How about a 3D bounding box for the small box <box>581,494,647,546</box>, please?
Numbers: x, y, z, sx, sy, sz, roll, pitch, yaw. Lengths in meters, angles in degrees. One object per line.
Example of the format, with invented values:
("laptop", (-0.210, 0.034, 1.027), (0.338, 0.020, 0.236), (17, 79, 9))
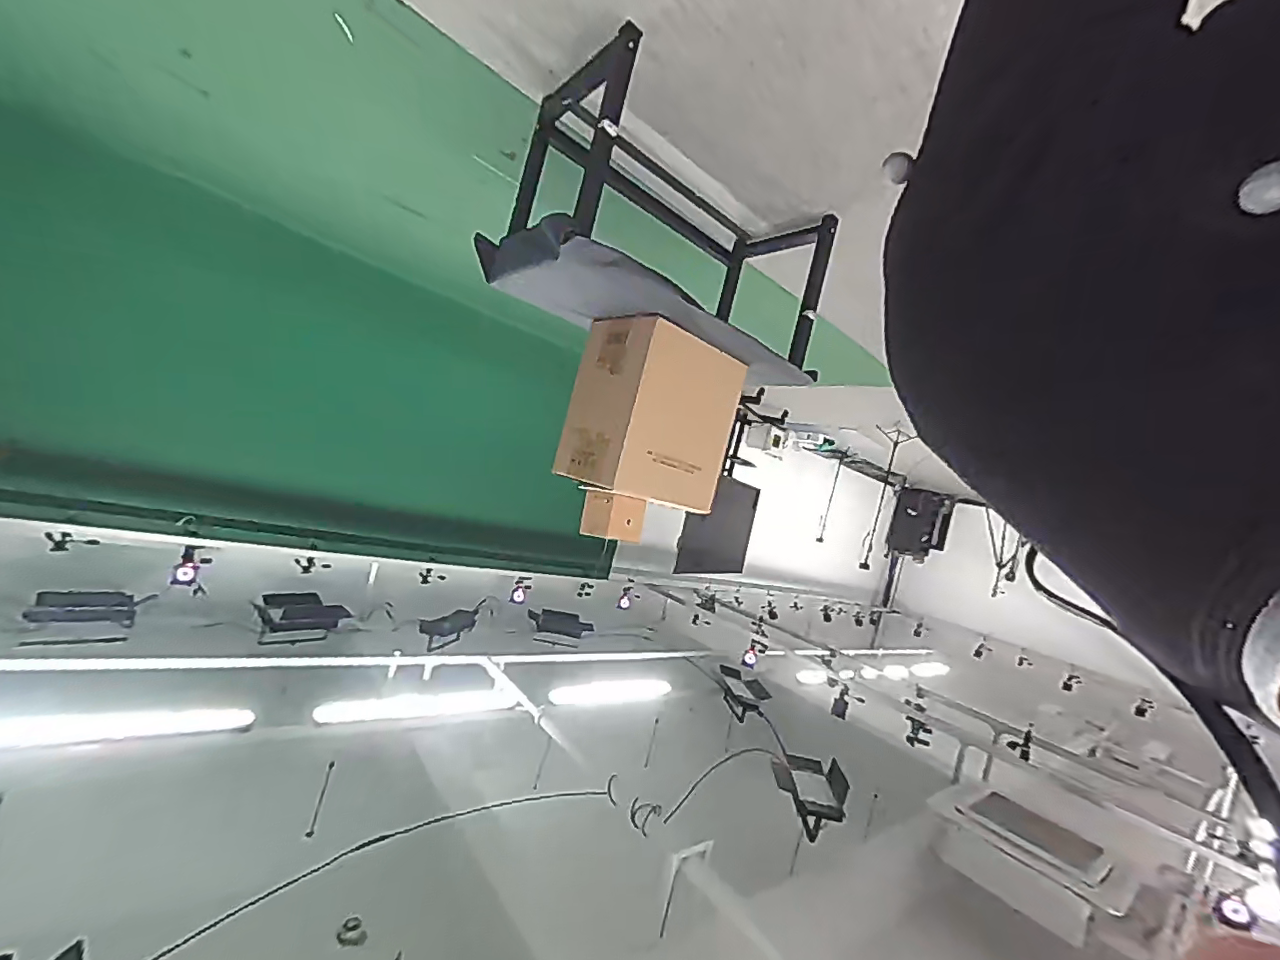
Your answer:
("small box", (-0.099, 0.154, 2.087), (0.179, 0.176, 0.168), (16, 173, -43))
